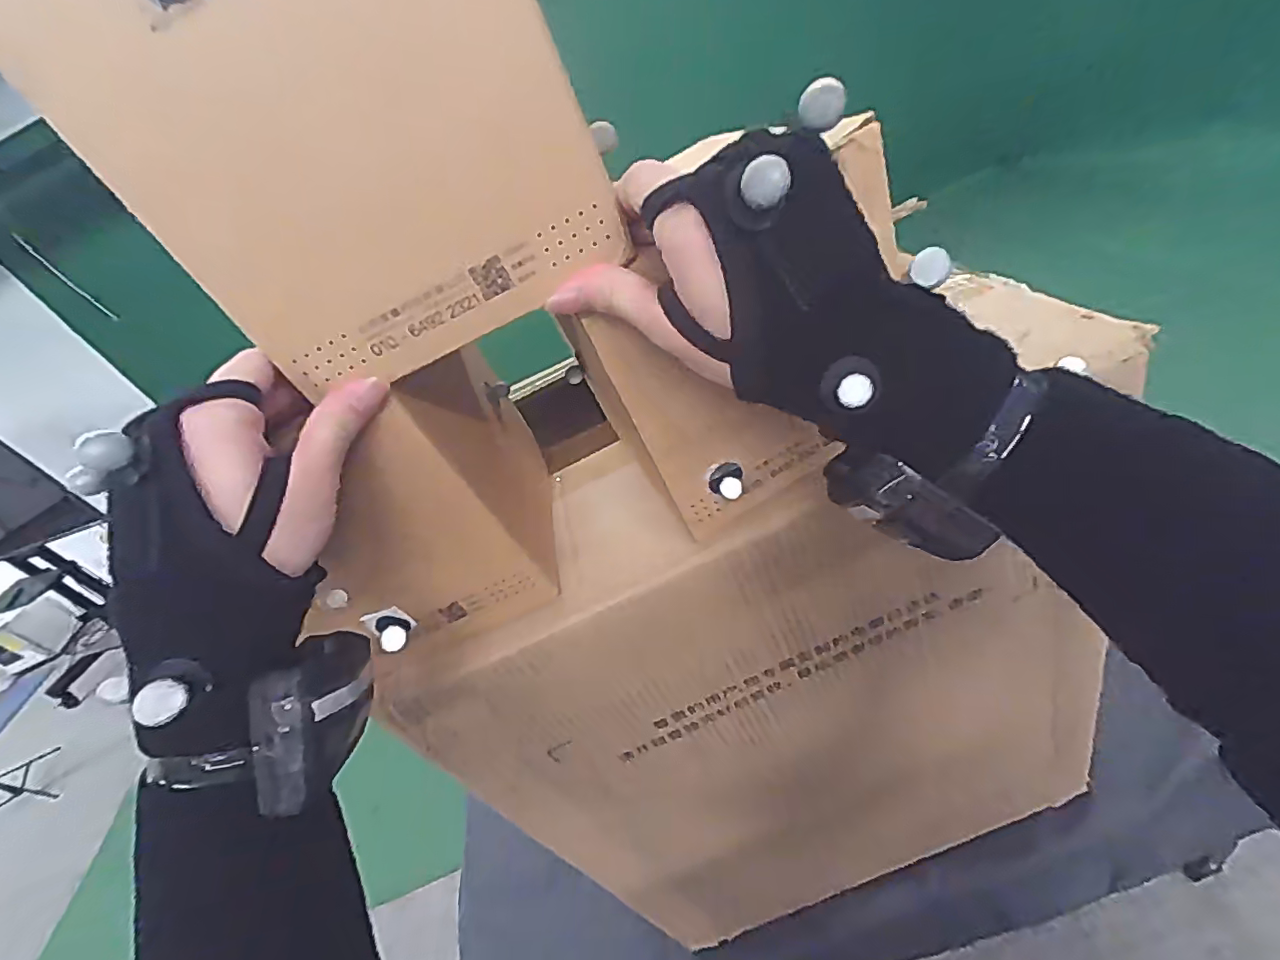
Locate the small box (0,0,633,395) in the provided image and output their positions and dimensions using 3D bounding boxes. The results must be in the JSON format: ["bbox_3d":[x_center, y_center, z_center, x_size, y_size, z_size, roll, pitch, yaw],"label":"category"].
[{"bbox_3d":[-0.117,-0.169,0.267,0.168,0.176,0.179,-25,35,5],"label":"small box"}]

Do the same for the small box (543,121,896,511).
[{"bbox_3d":[0.041,-0.103,0.360,0.168,0.176,0.179,-31,34,-4],"label":"small box"}]
